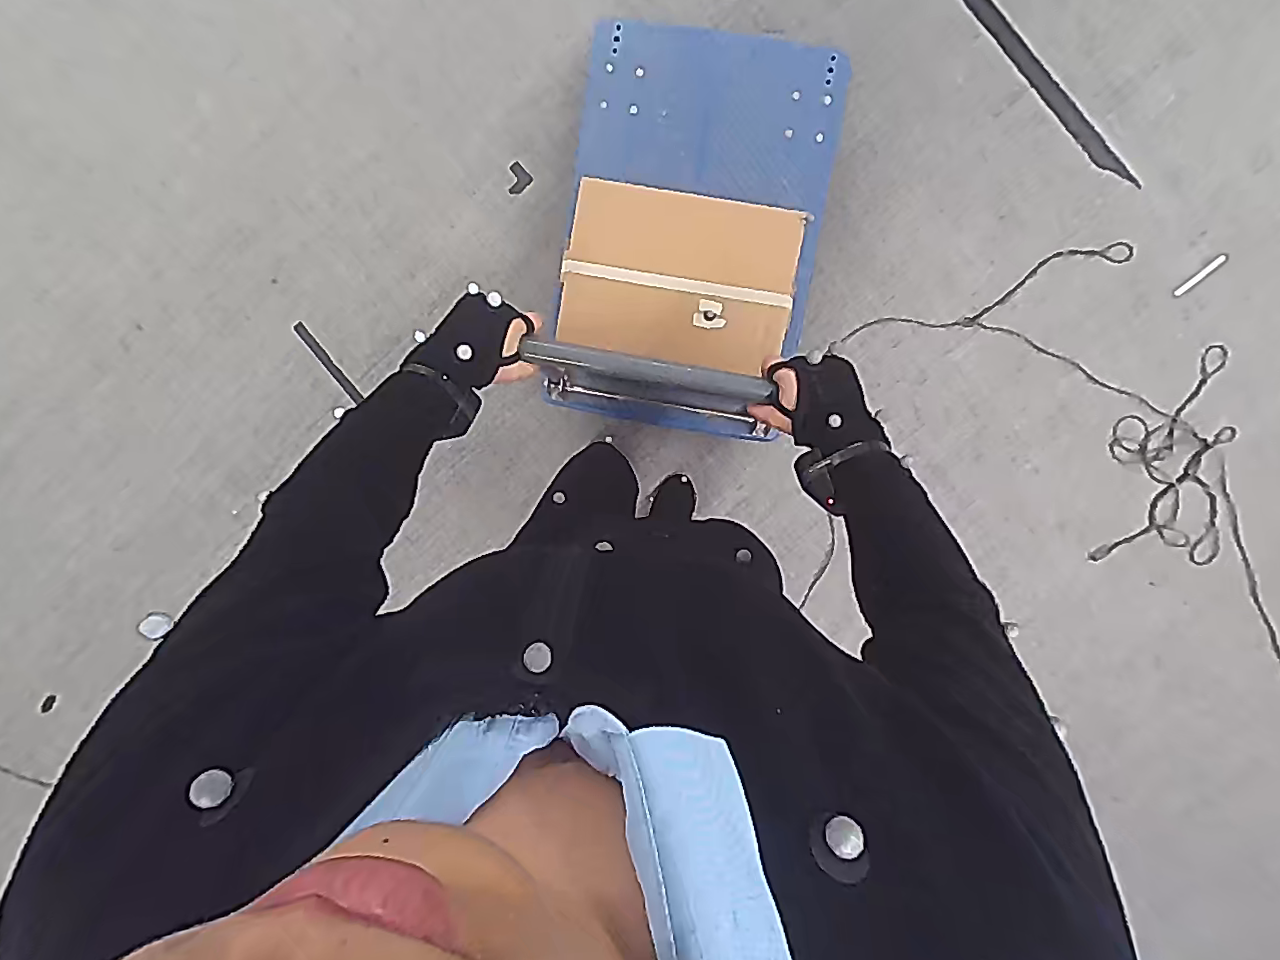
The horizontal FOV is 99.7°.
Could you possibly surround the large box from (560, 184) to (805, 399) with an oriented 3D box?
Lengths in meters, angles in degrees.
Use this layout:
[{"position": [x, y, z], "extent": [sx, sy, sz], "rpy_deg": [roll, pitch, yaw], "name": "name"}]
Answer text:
[{"position": [0.075, -0.358, 1.114], "extent": [0.408, 0.320, 0.320], "rpy_deg": [10, 96, 1], "name": "large box"}]
